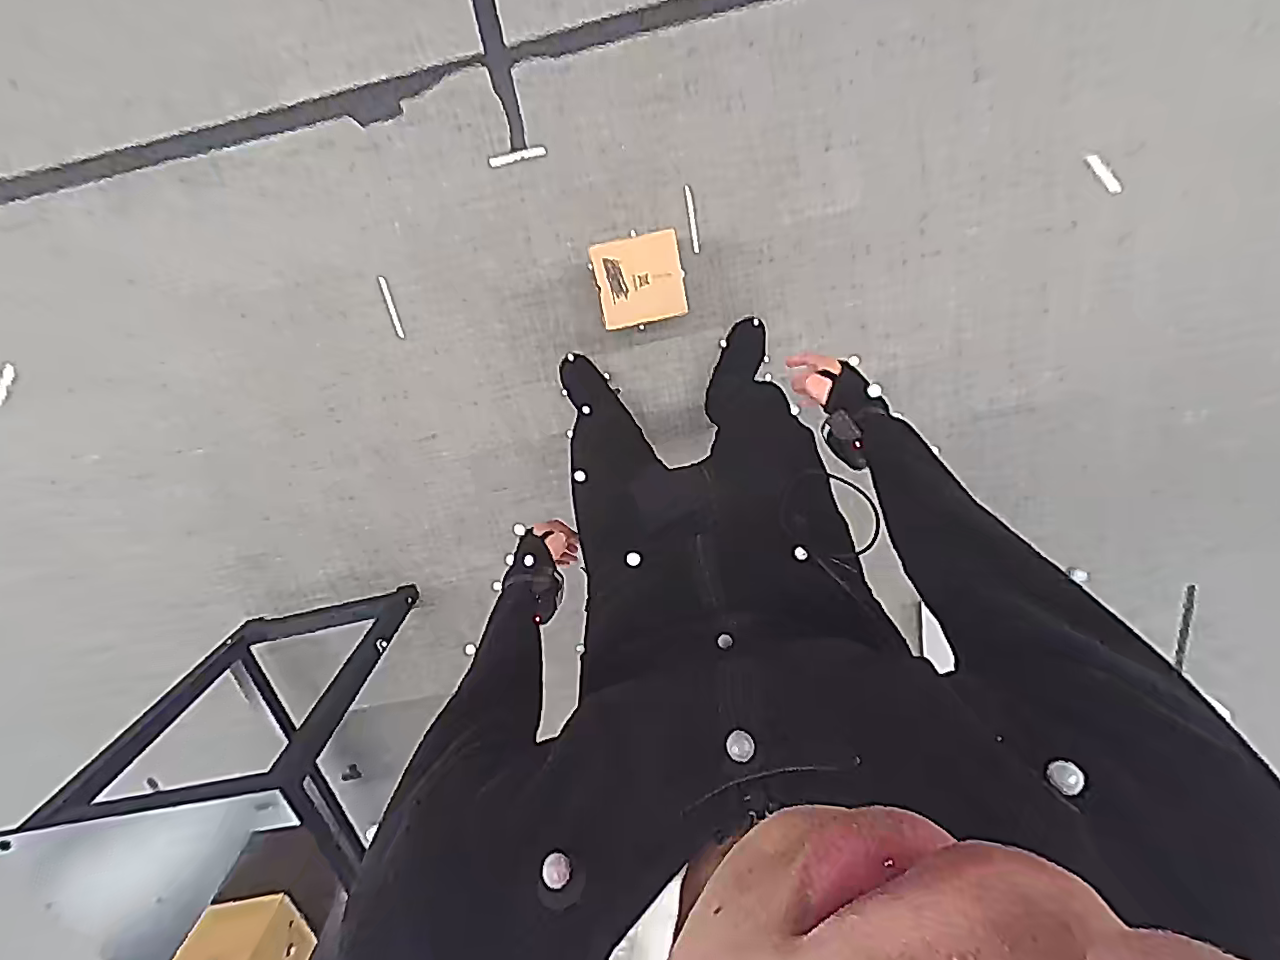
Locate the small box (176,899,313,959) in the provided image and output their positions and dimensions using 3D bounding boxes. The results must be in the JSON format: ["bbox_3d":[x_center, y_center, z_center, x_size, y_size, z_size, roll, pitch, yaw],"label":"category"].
[{"bbox_3d":[-0.801,0.979,1.073,0.179,0.176,0.168,-12,111,3],"label":"small box"}]

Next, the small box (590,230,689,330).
[{"bbox_3d":[-0.001,-0.423,1.154,0.179,0.176,0.168,-12,111,2],"label":"small box"}]
